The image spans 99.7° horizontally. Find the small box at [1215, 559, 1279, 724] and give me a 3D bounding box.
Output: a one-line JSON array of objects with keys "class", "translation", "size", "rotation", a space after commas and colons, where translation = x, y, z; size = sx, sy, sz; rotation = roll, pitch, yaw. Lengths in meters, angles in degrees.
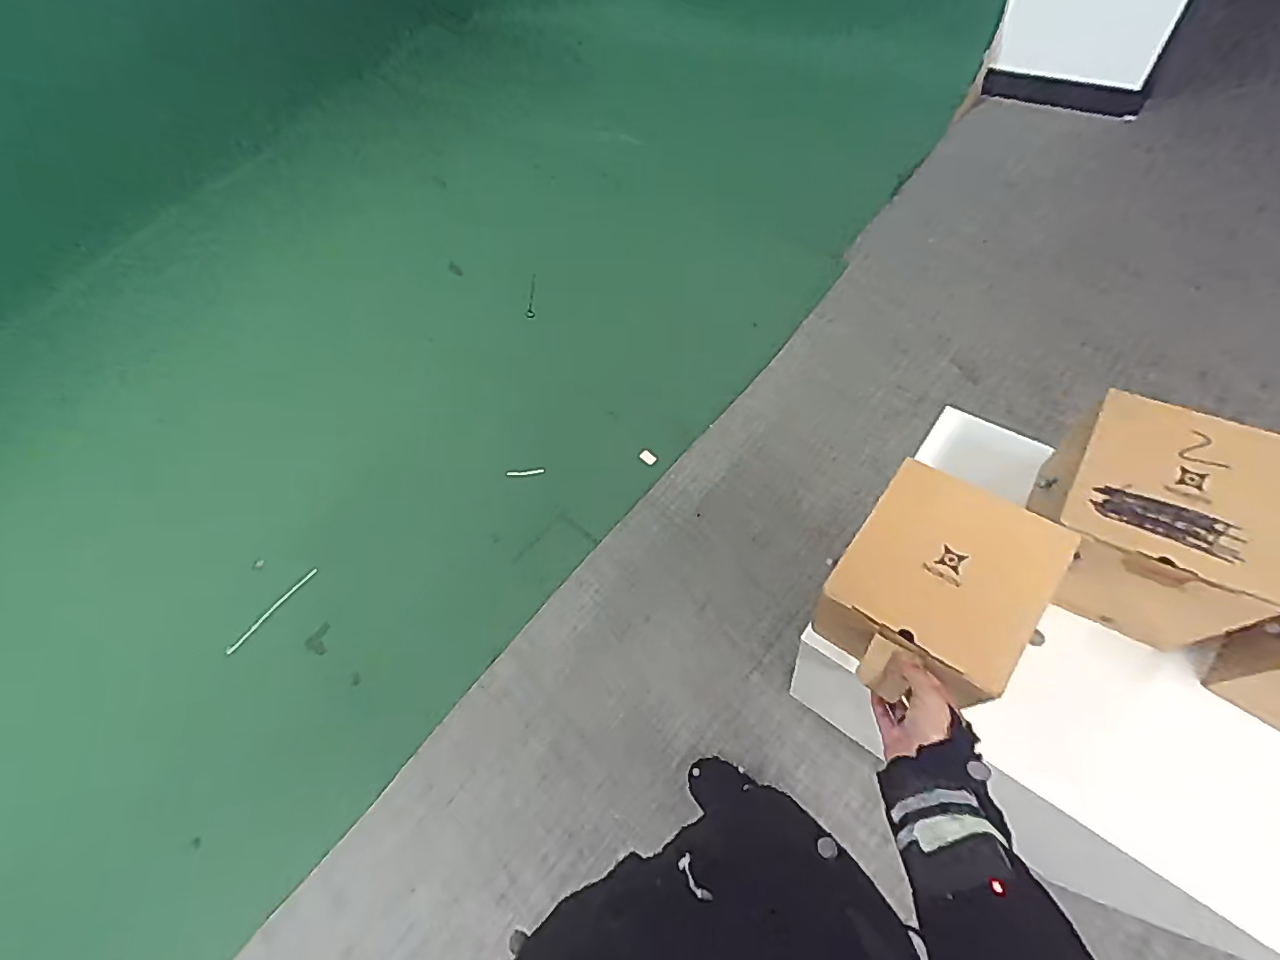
[{"class": "small box", "translation": [0.672, 0.155, 0.467], "size": [0.168, 0.176, 0.179], "rotation": [35, 74, 26]}]

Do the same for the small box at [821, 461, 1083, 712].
[{"class": "small box", "translation": [0.309, 0.118, 0.576], "size": [0.168, 0.176, 0.179], "rotation": [32, 73, 26]}]
